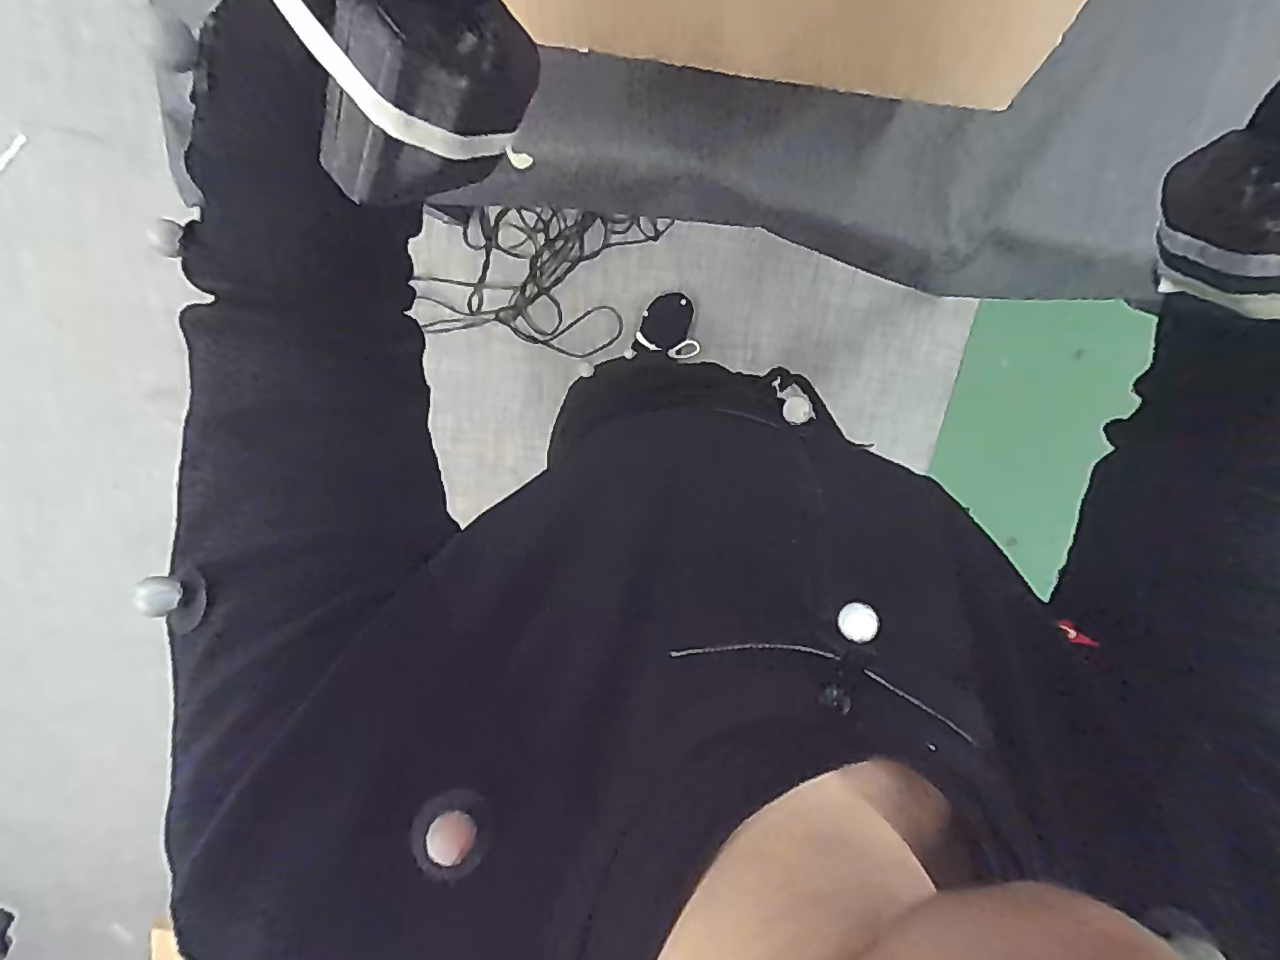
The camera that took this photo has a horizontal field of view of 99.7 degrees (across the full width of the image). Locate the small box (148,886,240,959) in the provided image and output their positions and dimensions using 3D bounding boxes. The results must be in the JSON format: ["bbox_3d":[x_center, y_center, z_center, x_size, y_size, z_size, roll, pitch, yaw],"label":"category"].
[{"bbox_3d":[-1.420,1.452,1.730,0.168,0.176,0.179,14,106,-2],"label":"small box"}]
